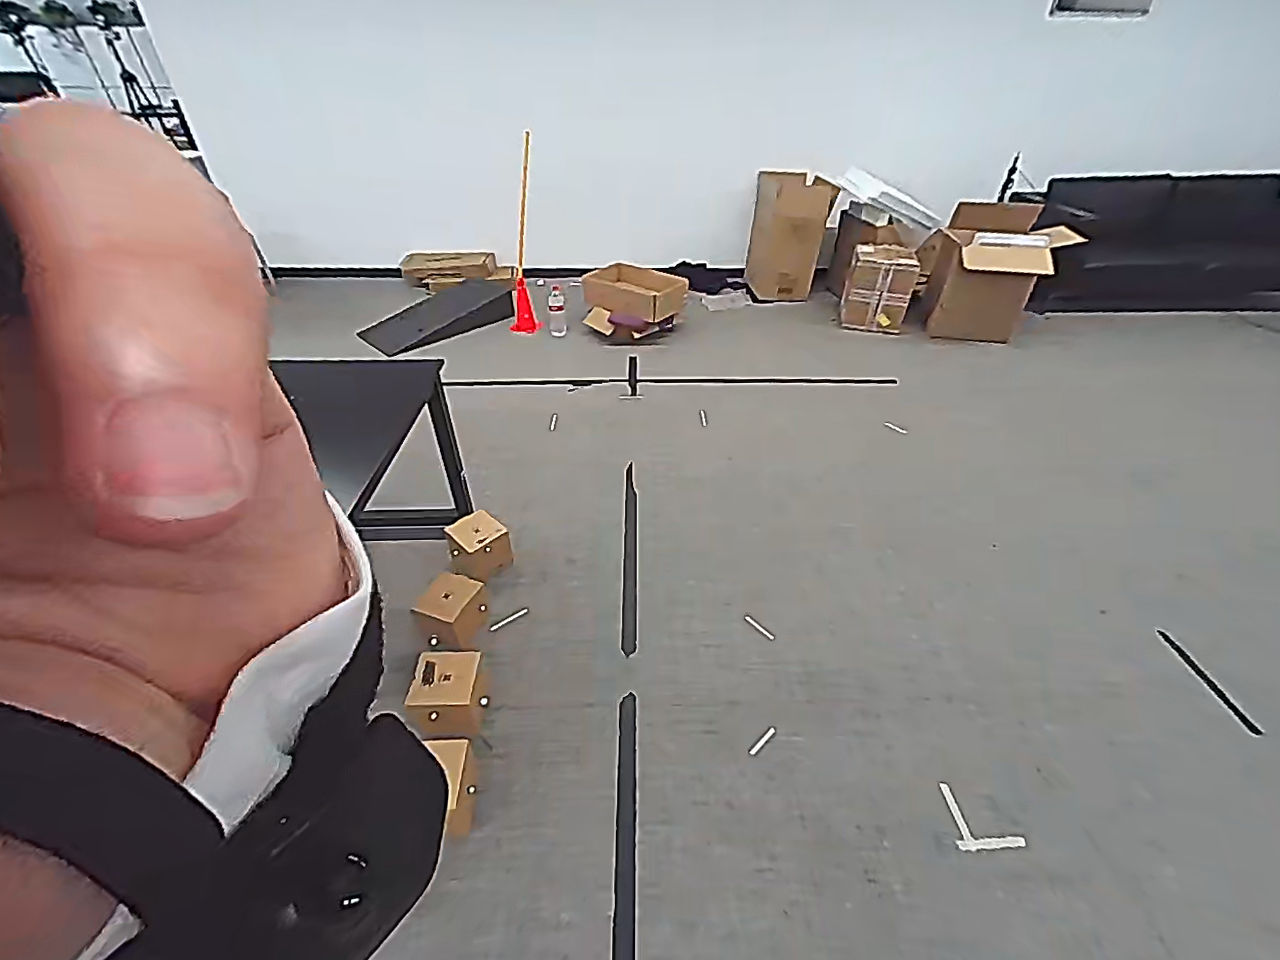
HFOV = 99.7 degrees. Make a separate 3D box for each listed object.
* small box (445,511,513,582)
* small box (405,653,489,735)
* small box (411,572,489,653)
[{"bbox_3d":[-0.603,0.252,2.031,0.179,0.176,0.168,30,47,32],"label":"small box"},{"bbox_3d":[-0.549,0.621,1.564,0.179,0.176,0.168,0,38,-3],"label":"small box"},{"bbox_3d":[-0.620,0.441,1.795,0.168,0.176,0.179,12,41,16],"label":"small box"}]
